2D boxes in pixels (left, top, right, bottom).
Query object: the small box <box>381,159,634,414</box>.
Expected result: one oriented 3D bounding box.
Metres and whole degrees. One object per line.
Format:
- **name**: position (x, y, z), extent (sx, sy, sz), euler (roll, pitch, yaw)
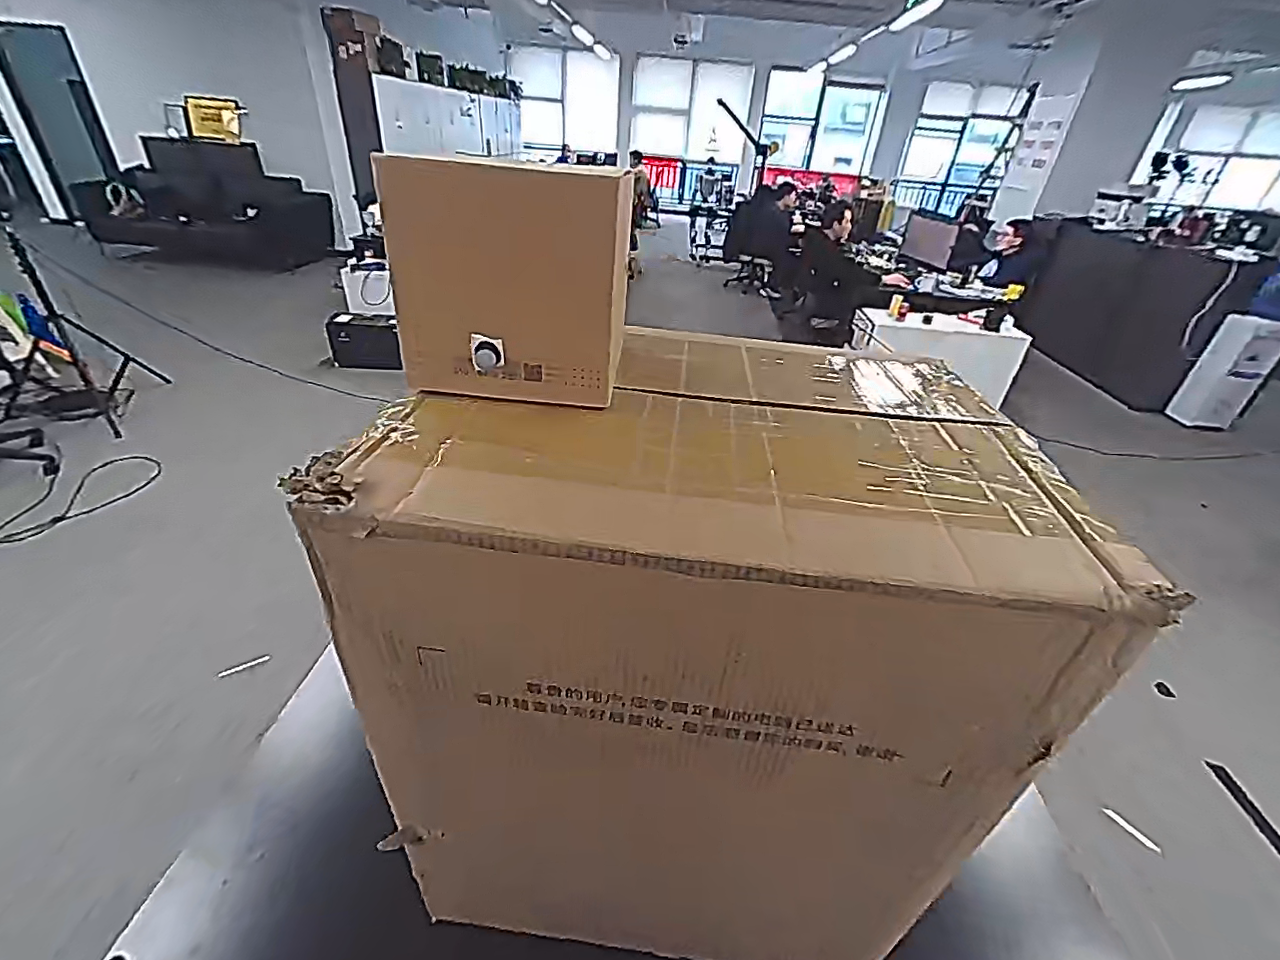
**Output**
- **small box**: position (-0.095, -0.173, 0.469), extent (0.168, 0.176, 0.179), euler (4, 32, -1)
